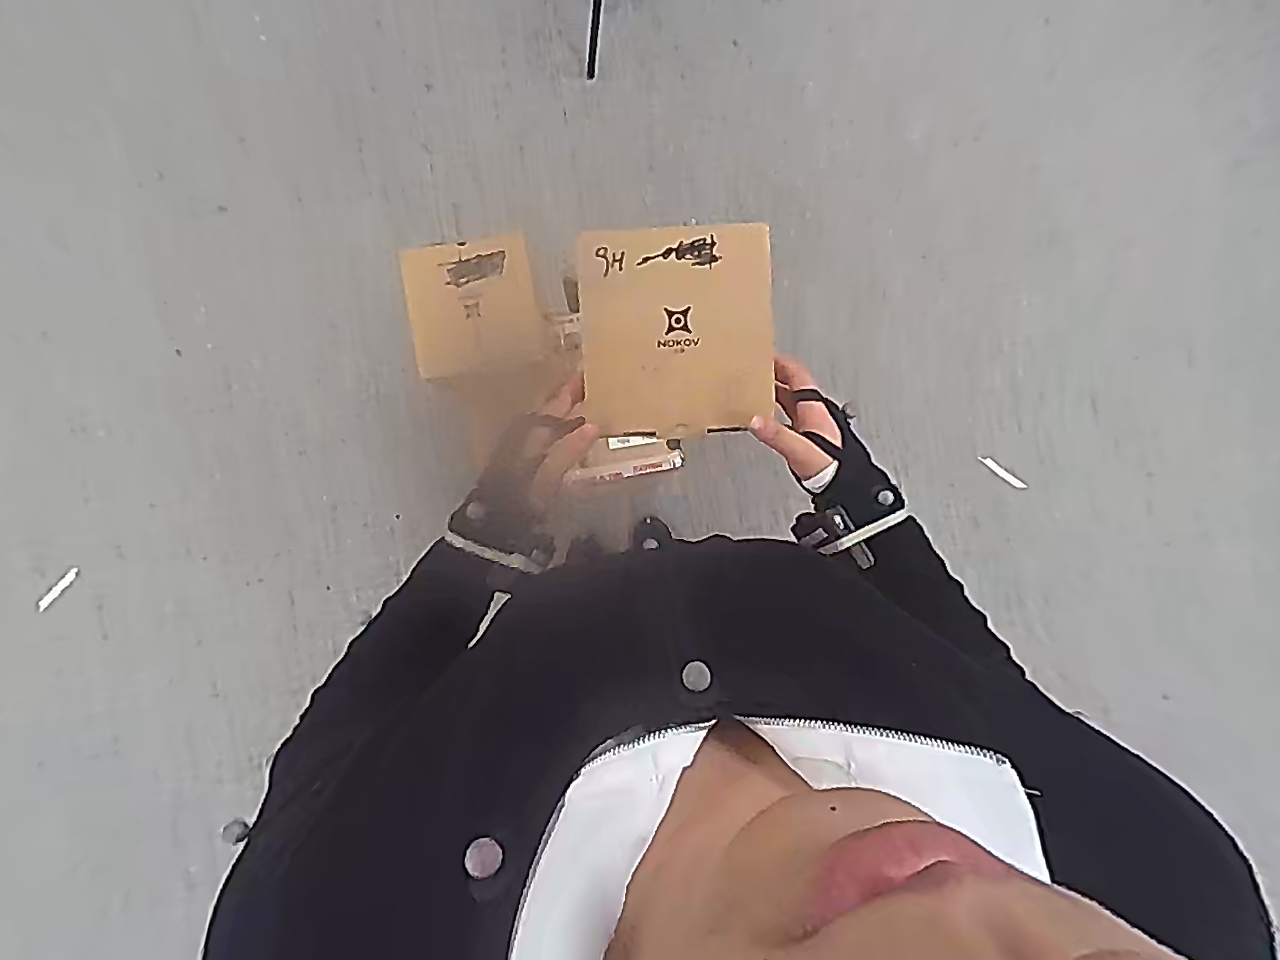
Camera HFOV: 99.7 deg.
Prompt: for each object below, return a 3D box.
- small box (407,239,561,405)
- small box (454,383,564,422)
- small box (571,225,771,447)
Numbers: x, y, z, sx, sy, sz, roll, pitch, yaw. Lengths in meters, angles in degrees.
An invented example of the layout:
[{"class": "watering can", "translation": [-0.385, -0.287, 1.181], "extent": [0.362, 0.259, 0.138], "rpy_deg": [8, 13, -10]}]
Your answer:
[{"class": "small box", "translation": [-0.216, -0.219, 0.789], "extent": [0.168, 0.176, 0.179], "rpy_deg": [-10, 89, -2]}, {"class": "small box", "translation": [-0.237, -0.214, 0.952], "extent": [0.168, 0.176, 0.179], "rpy_deg": [-13, 89, -2]}, {"class": "small box", "translation": [0.028, -0.130, 0.532], "extent": [0.168, 0.176, 0.179], "rpy_deg": [-3, 98, 0]}]
